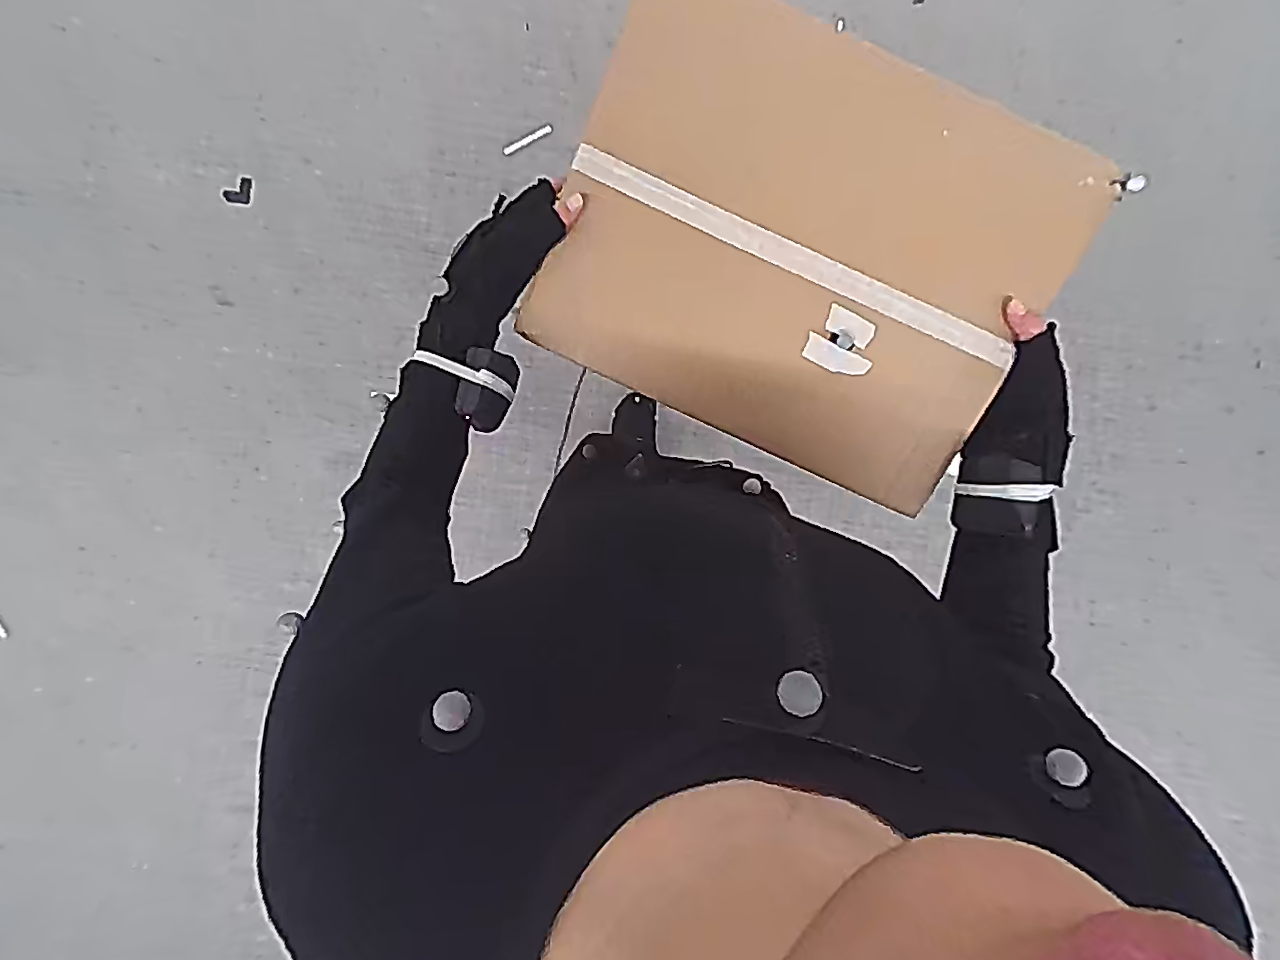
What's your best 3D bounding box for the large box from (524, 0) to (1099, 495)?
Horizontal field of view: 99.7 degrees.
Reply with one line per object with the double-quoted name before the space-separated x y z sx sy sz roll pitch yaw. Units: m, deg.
"large box" 0.140 -0.233 0.609 0.408 0.320 0.320 24 107 -2
